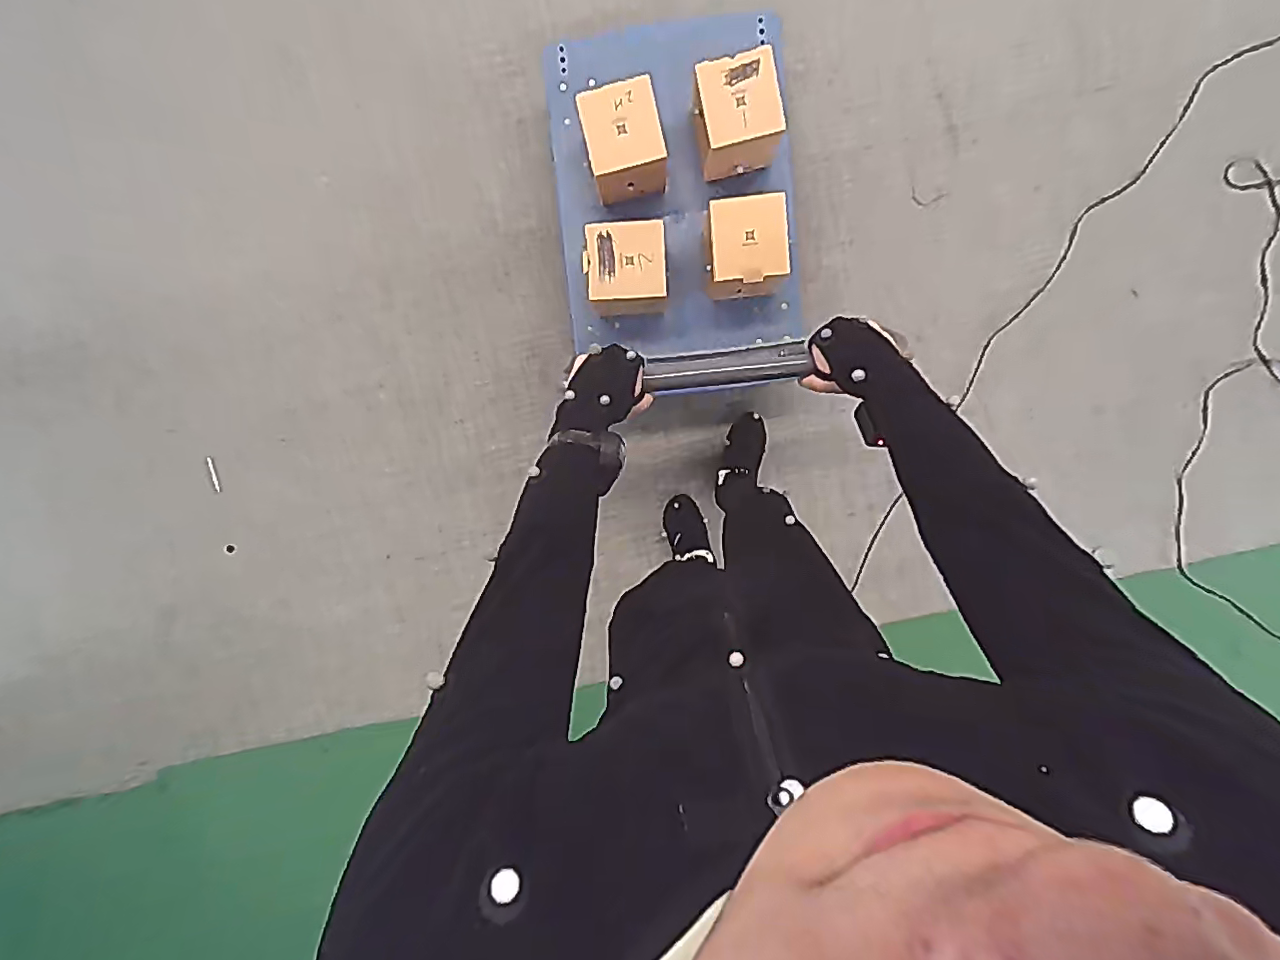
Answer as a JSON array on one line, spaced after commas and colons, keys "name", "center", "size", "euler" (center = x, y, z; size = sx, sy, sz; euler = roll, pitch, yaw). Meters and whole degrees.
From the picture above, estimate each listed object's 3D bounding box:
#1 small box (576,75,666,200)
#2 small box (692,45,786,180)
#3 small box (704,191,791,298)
[{"name": "small box", "center": [-0.037, -0.769, 1.240], "size": [0.168, 0.176, 0.179], "euler": [-13, 95, 2]}, {"name": "small box", "center": [0.216, -0.821, 1.225], "size": [0.168, 0.176, 0.179], "euler": [-12, 96, 4]}, {"name": "small box", "center": [0.244, -0.539, 1.255], "size": [0.168, 0.176, 0.179], "euler": [-6, 96, 2]}]
